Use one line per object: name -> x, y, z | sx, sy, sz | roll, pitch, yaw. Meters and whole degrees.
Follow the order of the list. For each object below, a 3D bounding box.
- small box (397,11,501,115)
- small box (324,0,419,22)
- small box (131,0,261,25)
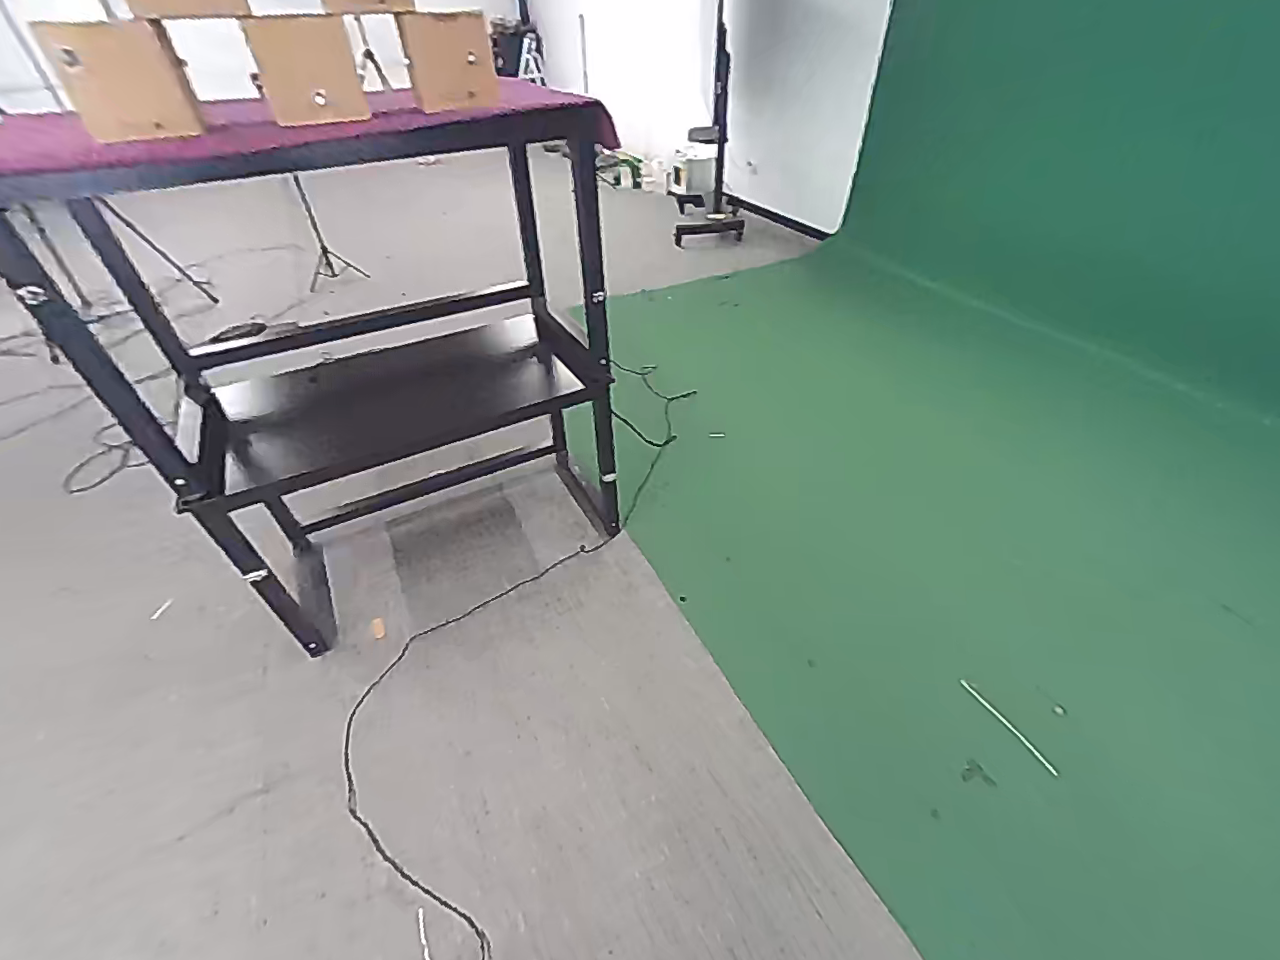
small box -> -0.413, -0.909, 1.181 | 0.168, 0.176, 0.179 | -17, 42, -17
small box -> -0.536, -0.993, 1.032 | 0.168, 0.176, 0.179 | -17, 43, -17
small box -> -0.792, -0.896, 0.928 | 0.179, 0.176, 0.168 | -18, 43, -19
